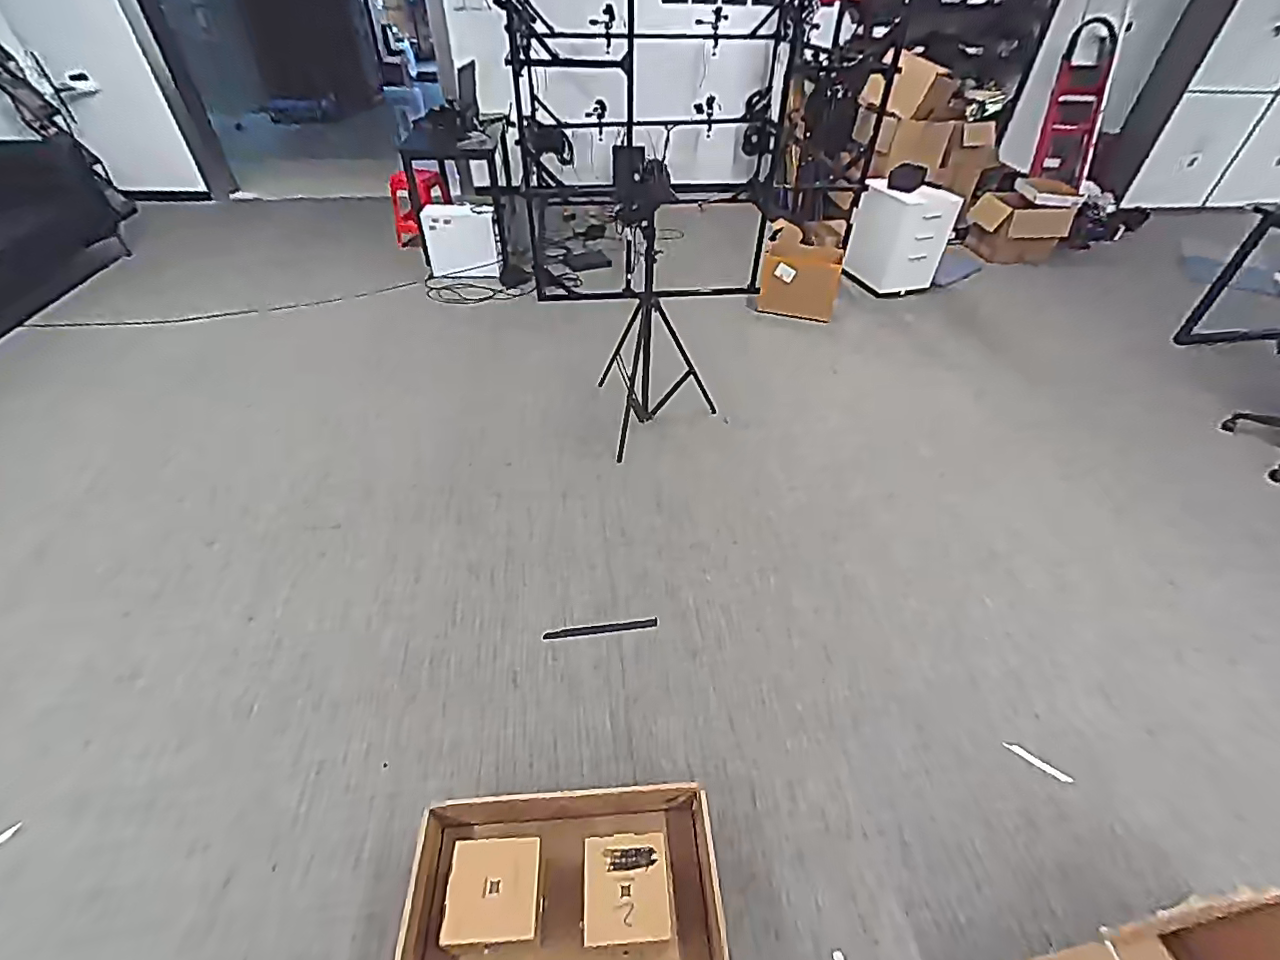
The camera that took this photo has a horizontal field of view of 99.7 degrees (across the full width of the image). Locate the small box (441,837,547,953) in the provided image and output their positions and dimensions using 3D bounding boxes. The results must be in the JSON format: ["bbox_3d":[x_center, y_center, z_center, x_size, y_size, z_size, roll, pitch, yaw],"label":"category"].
[{"bbox_3d":[-0.291,0.858,1.117,0.179,0.176,0.168,0,45,-5],"label":"small box"}]
